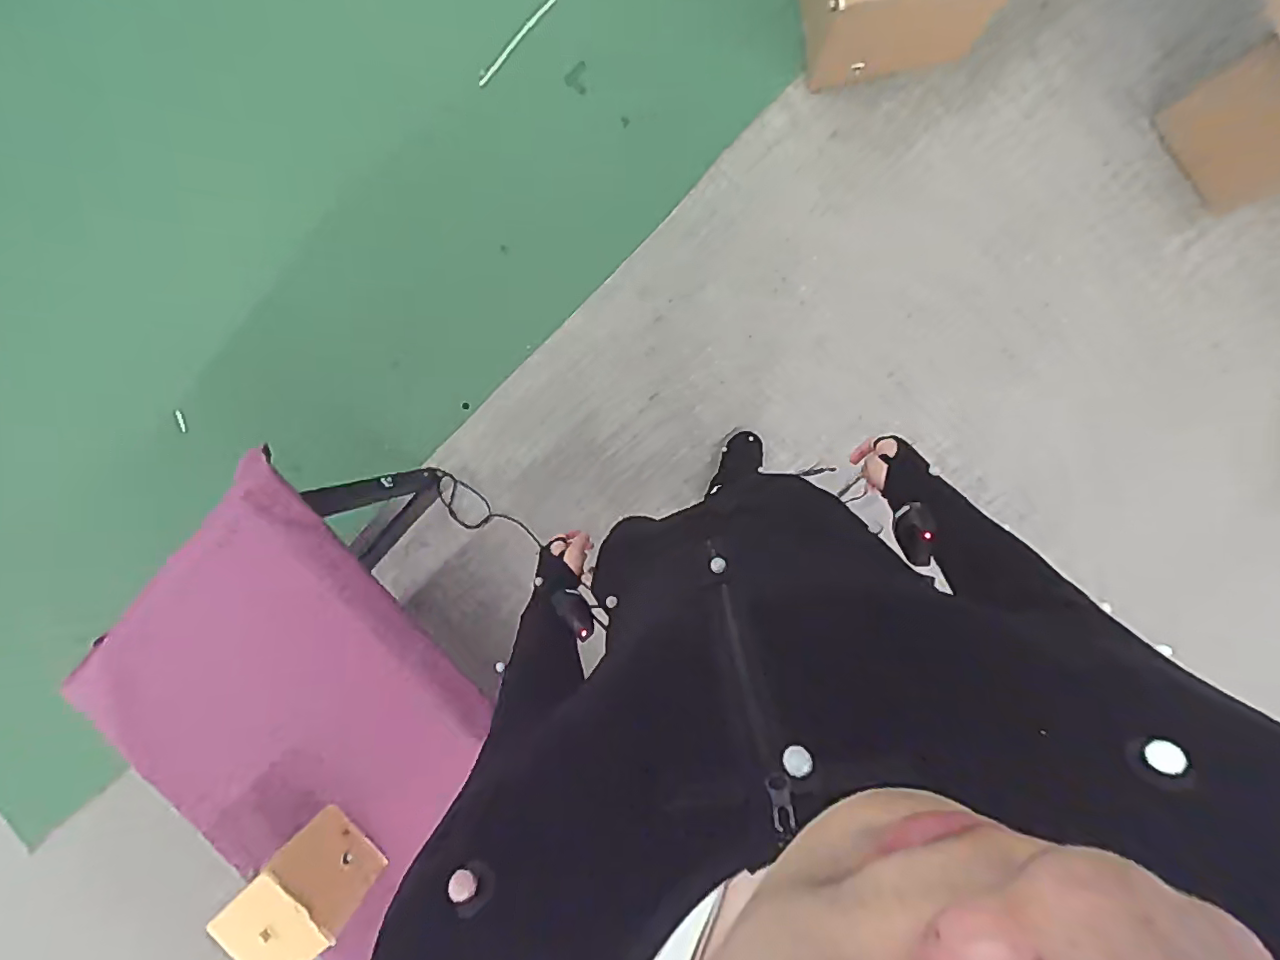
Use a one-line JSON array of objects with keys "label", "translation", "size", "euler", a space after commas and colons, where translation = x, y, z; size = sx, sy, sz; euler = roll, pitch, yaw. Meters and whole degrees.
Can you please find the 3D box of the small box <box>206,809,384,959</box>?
[{"label": "small box", "translation": [-0.612, 0.756, 0.981], "size": [0.179, 0.176, 0.168], "euler": [-44, 90, 8]}]
